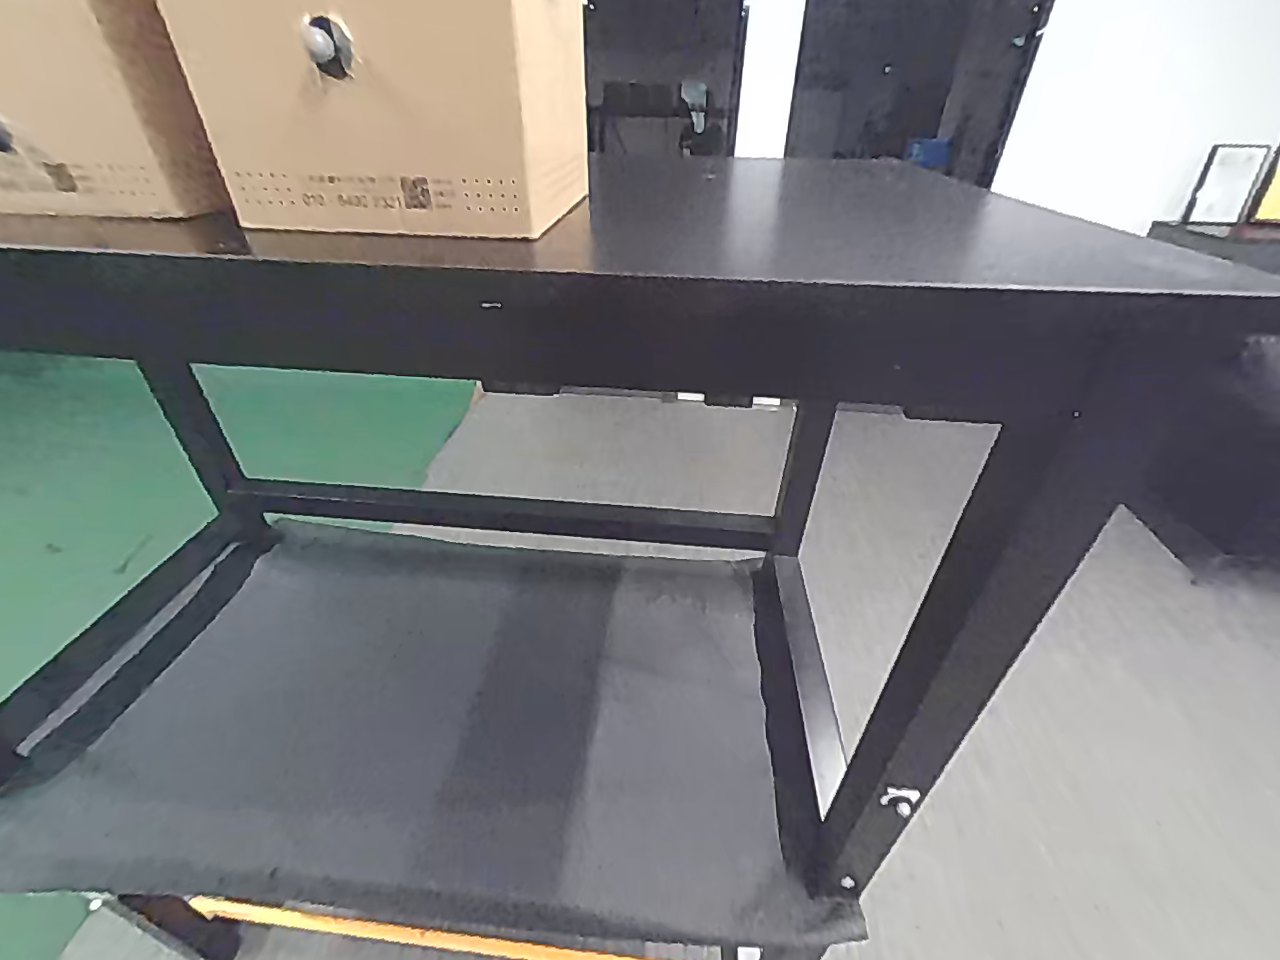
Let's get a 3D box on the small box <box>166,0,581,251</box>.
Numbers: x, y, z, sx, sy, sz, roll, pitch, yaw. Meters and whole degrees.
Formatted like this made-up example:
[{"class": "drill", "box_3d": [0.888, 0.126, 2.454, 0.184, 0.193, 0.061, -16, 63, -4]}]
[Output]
[{"class": "small box", "box_3d": [-0.129, -0.241, 0.319, 0.168, 0.176, 0.179, 4, 35, 3]}]
